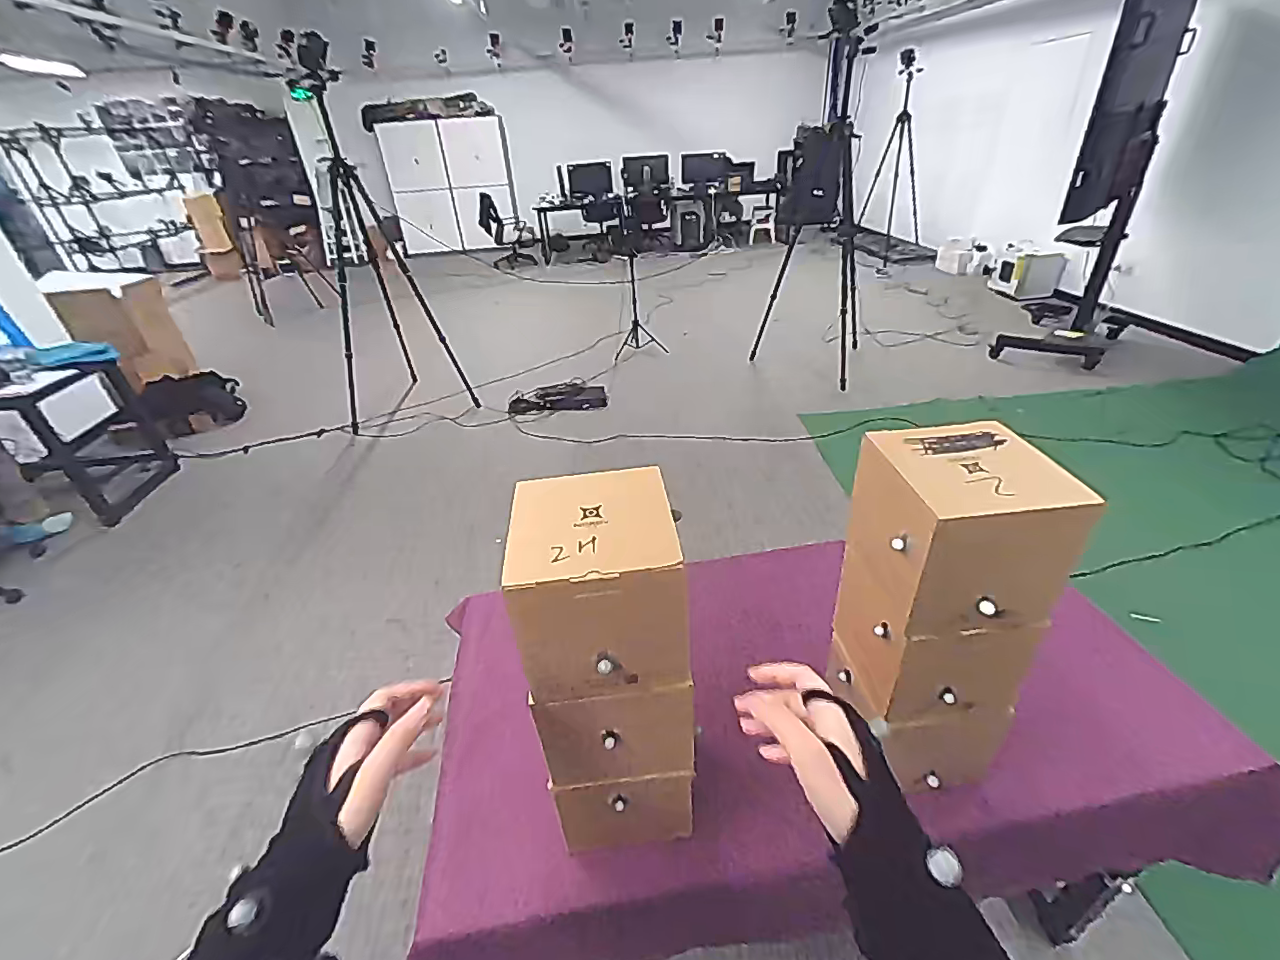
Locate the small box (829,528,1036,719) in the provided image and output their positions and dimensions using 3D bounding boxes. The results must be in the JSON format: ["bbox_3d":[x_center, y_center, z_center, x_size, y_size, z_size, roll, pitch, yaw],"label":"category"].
[{"bbox_3d":[0.370,0.189,0.728,0.168,0.176,0.179,-6,34,-3],"label":"small box"}]

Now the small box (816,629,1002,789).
[{"bbox_3d":[0.383,0.331,0.808,0.179,0.176,0.168,-6,33,-4],"label":"small box"}]

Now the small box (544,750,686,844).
[{"bbox_3d":[-0.032,0.388,0.769,0.179,0.176,0.168,-5,34,-3],"label":"small box"}]

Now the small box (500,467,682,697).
[{"bbox_3d":[-0.048,0.107,0.598,0.168,0.176,0.179,-7,34,-3],"label":"small box"}]

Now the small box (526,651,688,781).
[{"bbox_3d":[-0.037,0.249,0.682,0.179,0.176,0.168,-7,33,-3],"label":"small box"}]
